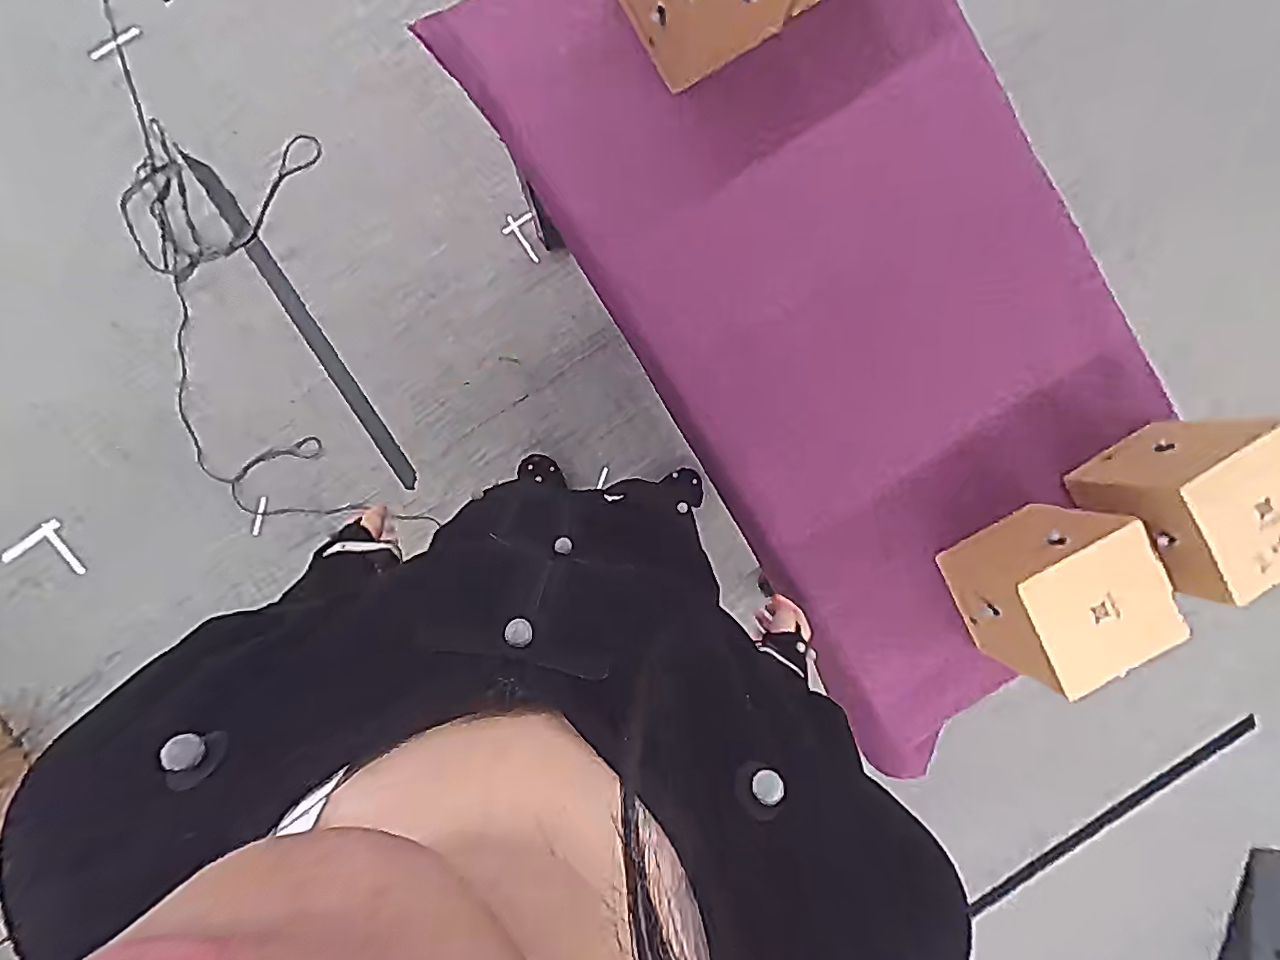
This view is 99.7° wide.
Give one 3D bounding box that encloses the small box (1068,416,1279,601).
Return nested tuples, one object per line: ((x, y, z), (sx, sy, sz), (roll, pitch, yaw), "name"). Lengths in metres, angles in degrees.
((0.744, 0.030, 0.735), (0.168, 0.176, 0.179), (-31, 96, 0), "small box")

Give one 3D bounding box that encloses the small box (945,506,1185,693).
((0.555, 0.149, 0.738), (0.179, 0.176, 0.168), (-28, 95, -2), "small box")
